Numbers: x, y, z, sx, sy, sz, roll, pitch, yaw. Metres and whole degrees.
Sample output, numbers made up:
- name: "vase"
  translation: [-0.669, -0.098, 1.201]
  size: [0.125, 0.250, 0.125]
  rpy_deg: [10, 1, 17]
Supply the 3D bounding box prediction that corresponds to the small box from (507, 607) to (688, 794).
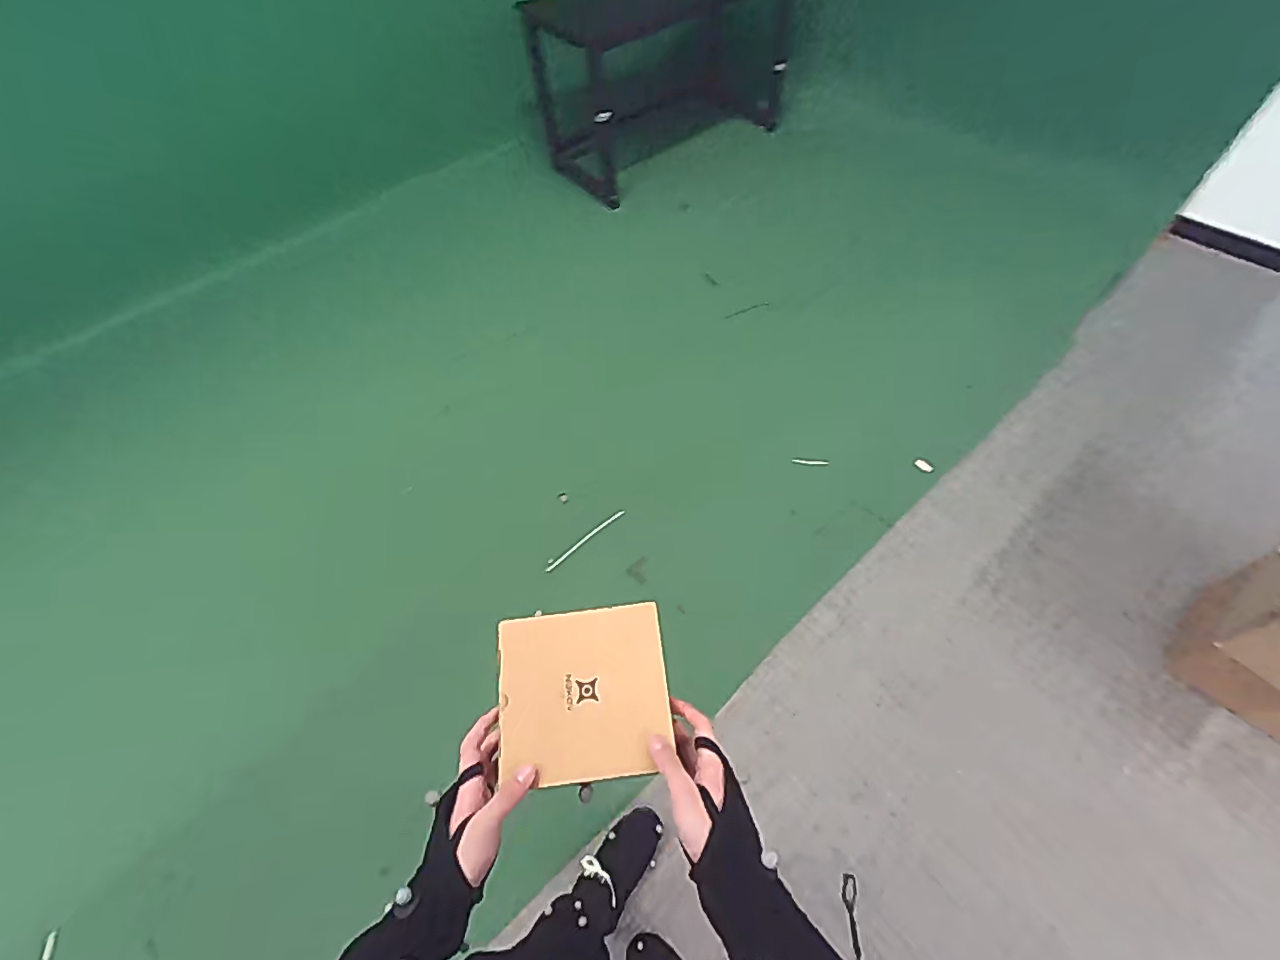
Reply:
- name: "small box"
  translation: [-0.045, 0.254, 0.621]
  size: [0.179, 0.176, 0.168]
  rpy_deg: [-6, 62, -1]
